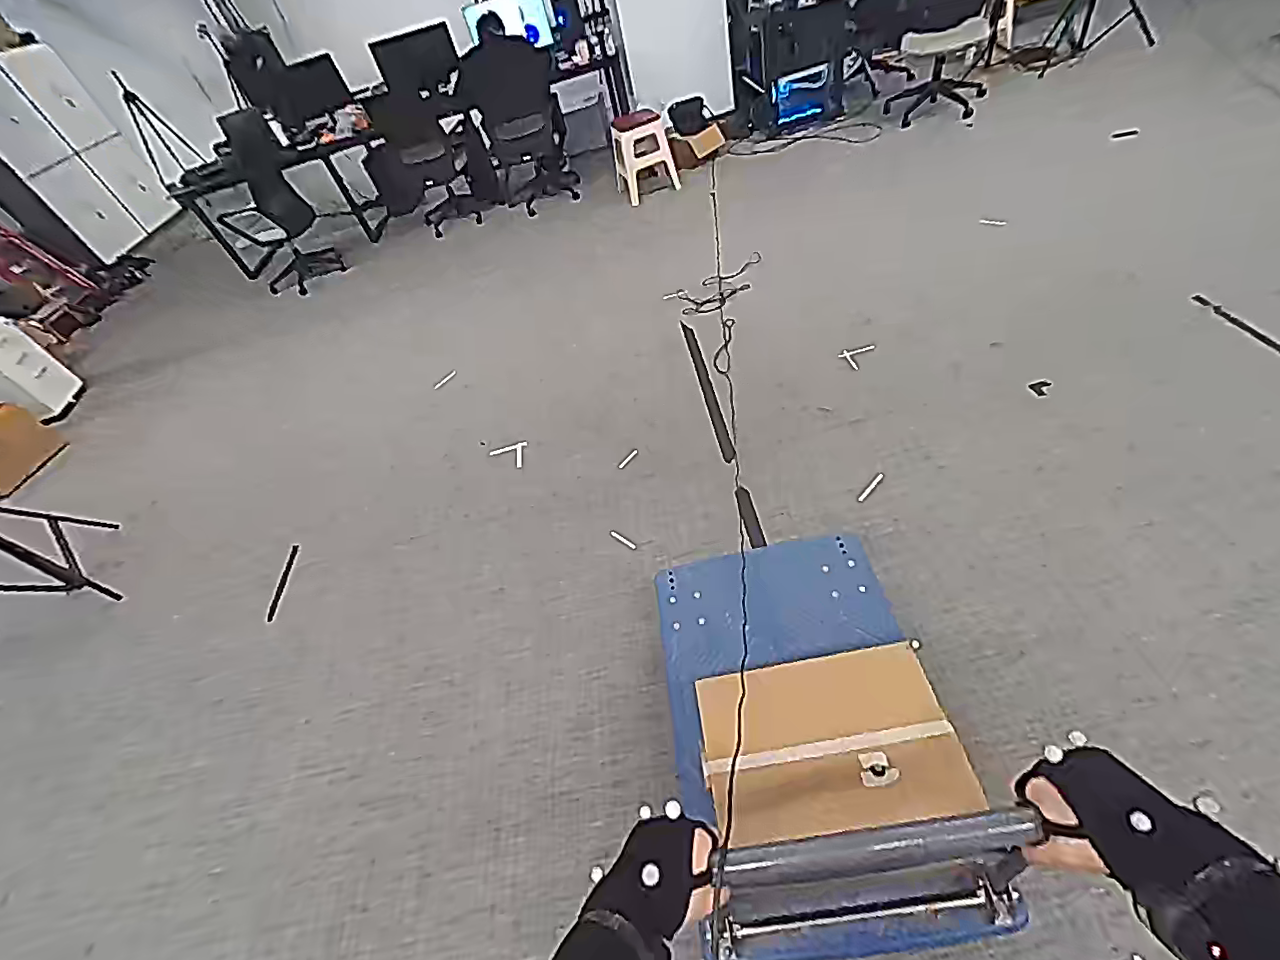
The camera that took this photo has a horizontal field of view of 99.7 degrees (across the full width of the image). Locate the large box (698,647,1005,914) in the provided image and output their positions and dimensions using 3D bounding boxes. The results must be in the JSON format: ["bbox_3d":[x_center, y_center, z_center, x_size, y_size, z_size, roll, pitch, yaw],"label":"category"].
[{"bbox_3d":[0.345,0.553,0.988,0.408,0.320,0.320,-13,45,6],"label":"large box"}]
